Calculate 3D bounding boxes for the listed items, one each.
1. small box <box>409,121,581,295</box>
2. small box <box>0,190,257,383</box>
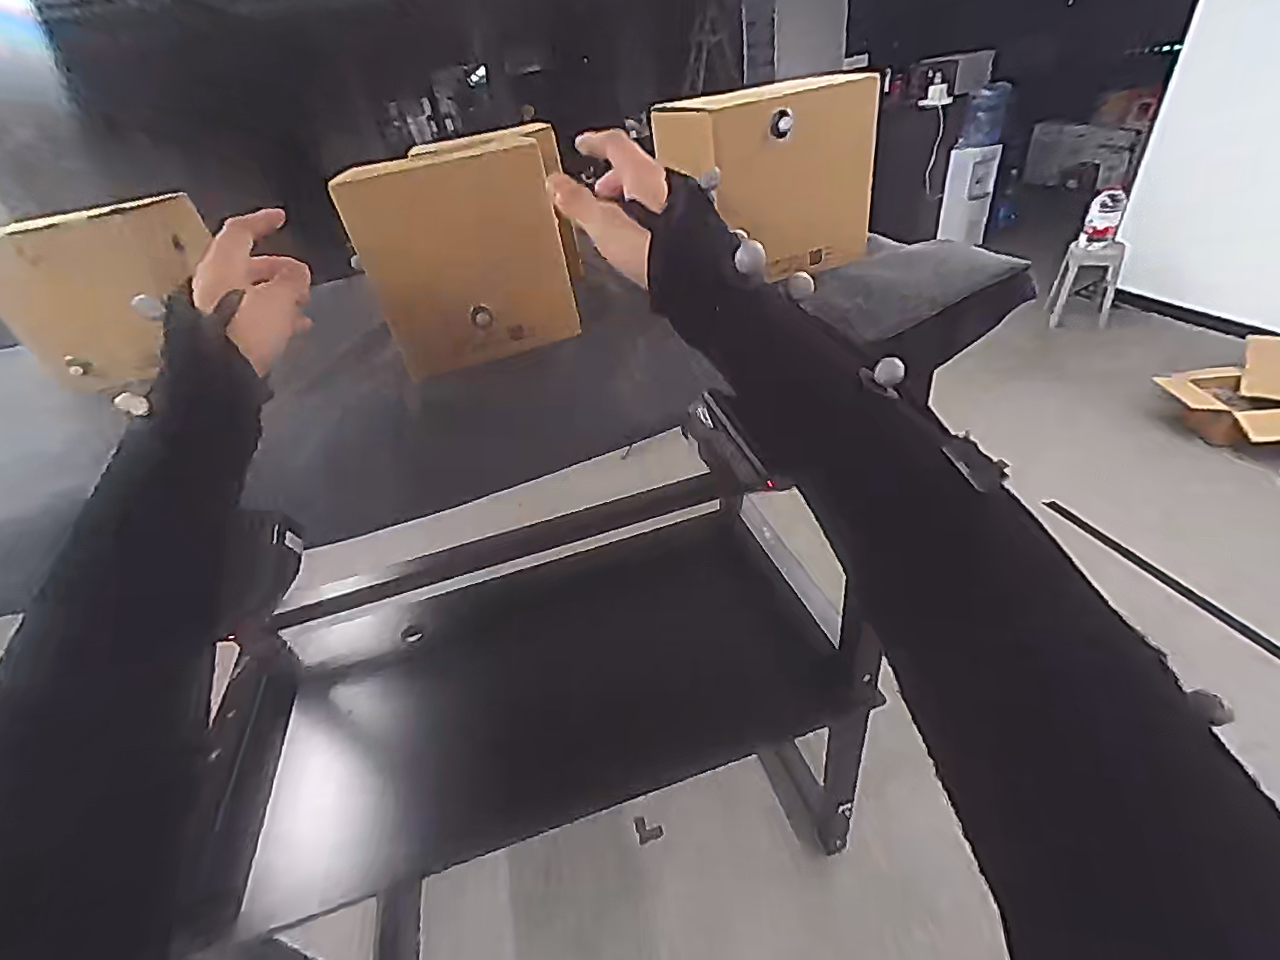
[{"bbox_3d":[-0.184,-0.360,0.715,0.168,0.176,0.179,-16,36,-6],"label":"small box"},{"bbox_3d":[-0.608,-0.230,0.651,0.168,0.176,0.179,-16,36,-8],"label":"small box"}]
